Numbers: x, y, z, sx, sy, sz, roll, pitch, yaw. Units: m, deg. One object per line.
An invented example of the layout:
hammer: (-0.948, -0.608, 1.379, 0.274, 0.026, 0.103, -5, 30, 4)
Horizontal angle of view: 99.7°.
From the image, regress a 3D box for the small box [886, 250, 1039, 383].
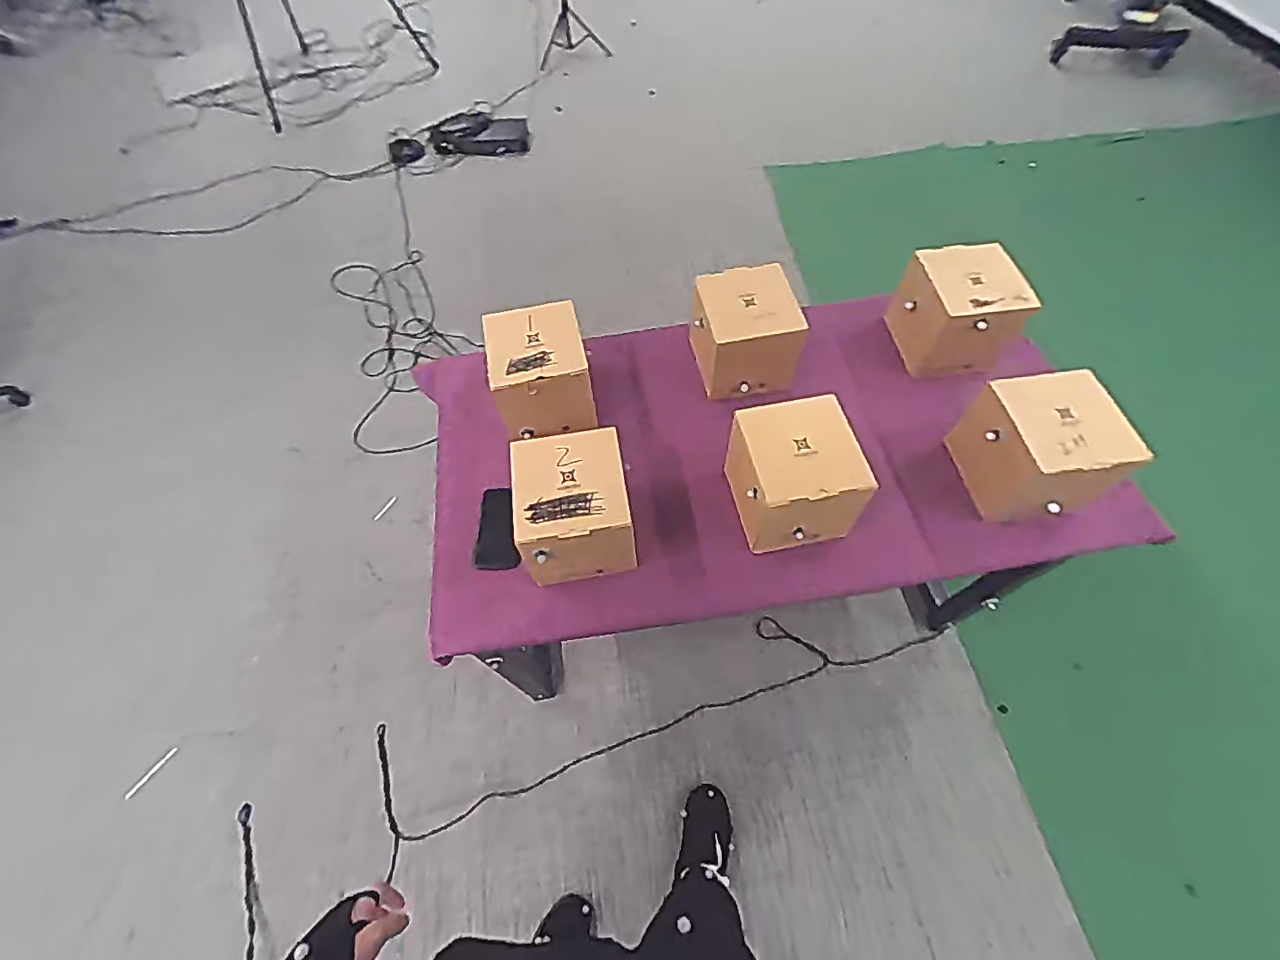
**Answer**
small box: (0.602, -0.311, 1.041, 0.168, 0.176, 0.179, -7, 59, -1)

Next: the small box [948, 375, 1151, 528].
small box: (0.640, -0.043, 0.876, 0.168, 0.176, 0.179, -7, 59, 0)

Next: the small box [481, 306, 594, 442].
small box: (-0.185, -0.187, 0.996, 0.168, 0.176, 0.179, -12, 59, -5)

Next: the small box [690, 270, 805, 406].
small box: (0.194, -0.268, 1.033, 0.168, 0.176, 0.179, -9, 60, -3)

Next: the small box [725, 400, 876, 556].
small box: (0.241, 0.000, 0.870, 0.168, 0.176, 0.179, -10, 59, -4)
